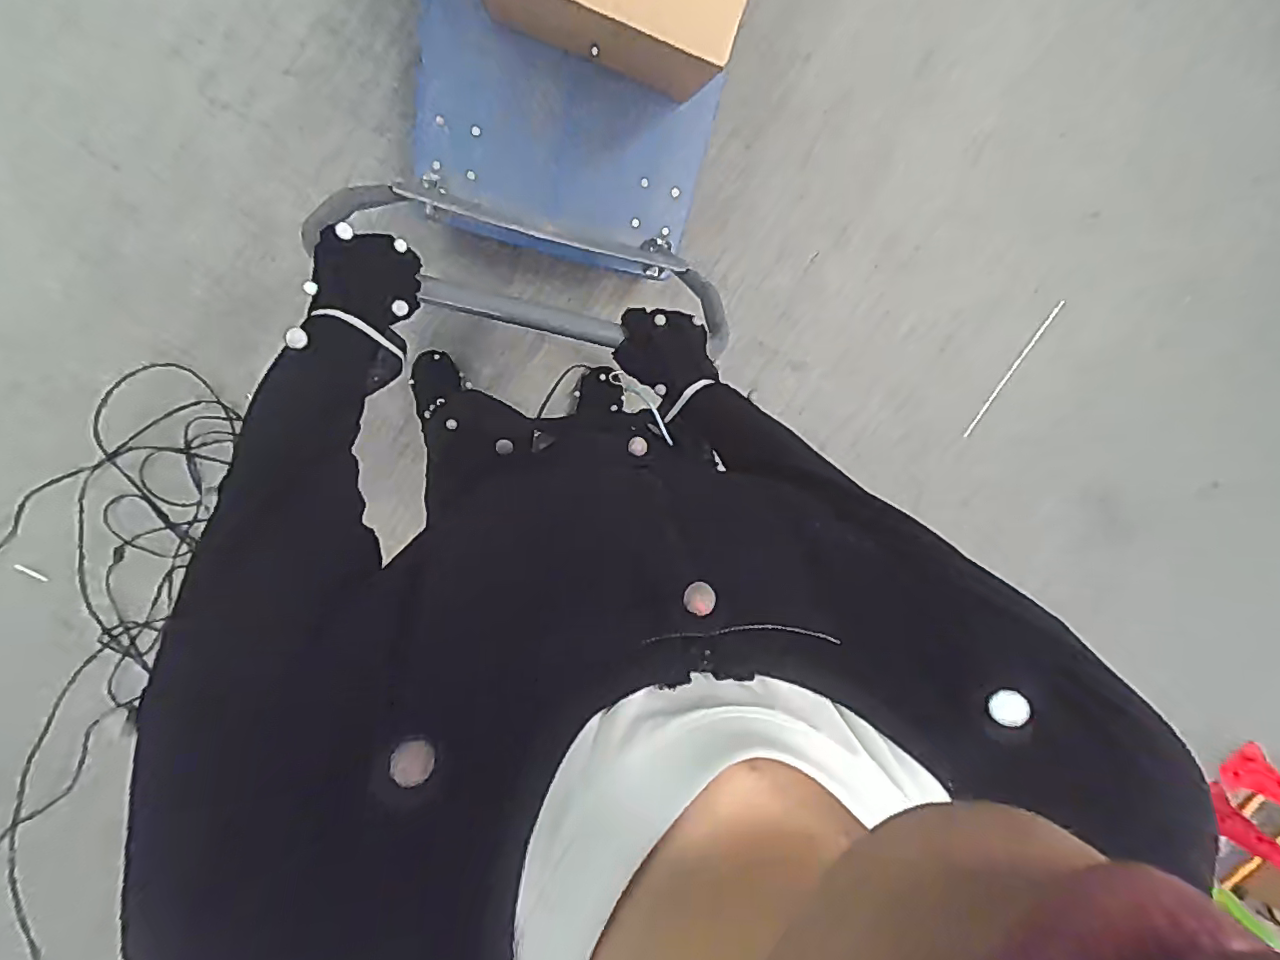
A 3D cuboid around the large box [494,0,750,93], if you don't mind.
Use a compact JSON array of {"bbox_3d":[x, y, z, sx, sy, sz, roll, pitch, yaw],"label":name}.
[{"bbox_3d":[-0.017,-0.880,0.857,0.408,0.320,0.320,14,114,-12],"label":"large box"}]
